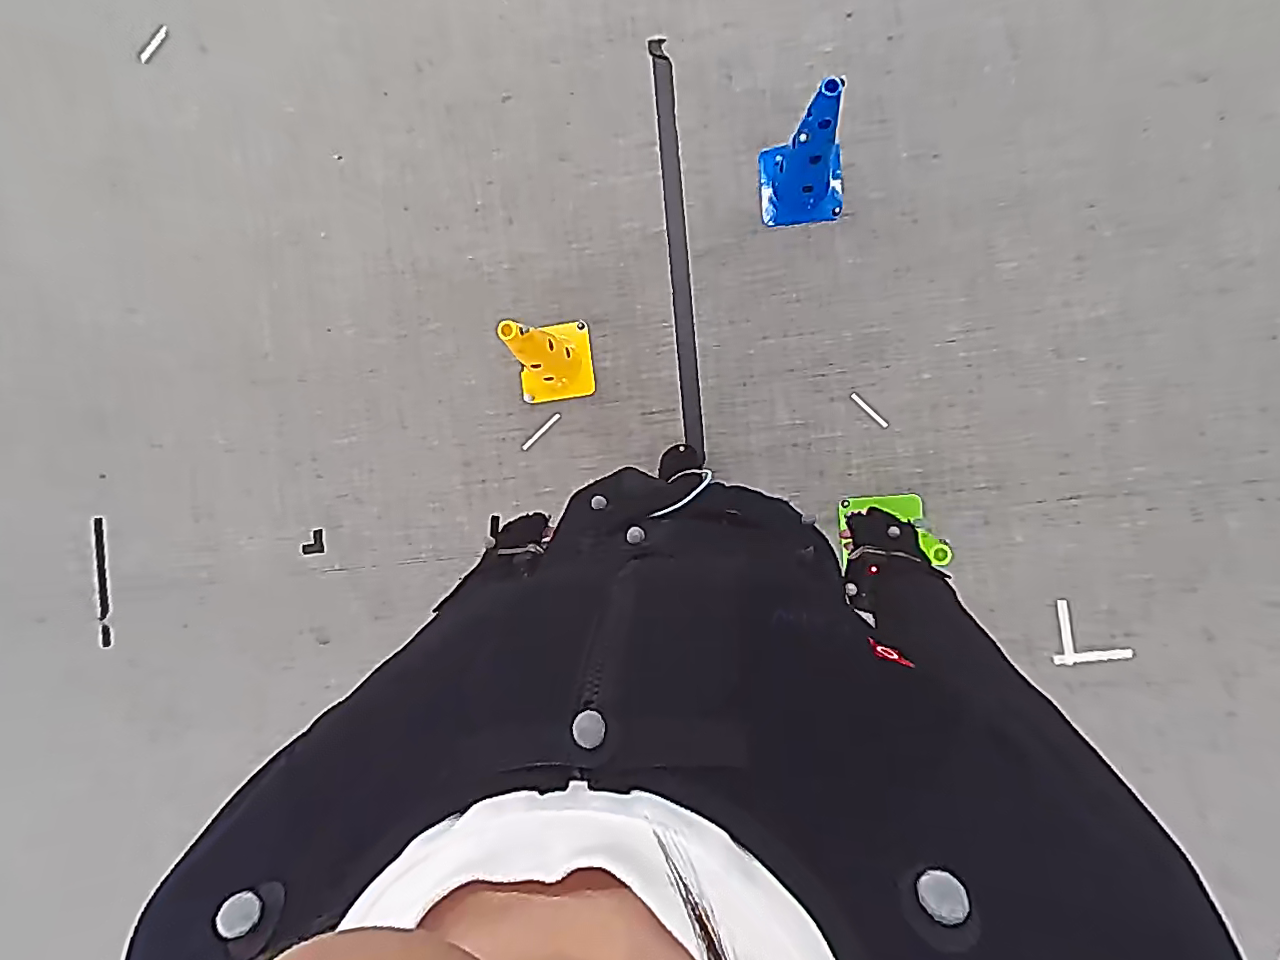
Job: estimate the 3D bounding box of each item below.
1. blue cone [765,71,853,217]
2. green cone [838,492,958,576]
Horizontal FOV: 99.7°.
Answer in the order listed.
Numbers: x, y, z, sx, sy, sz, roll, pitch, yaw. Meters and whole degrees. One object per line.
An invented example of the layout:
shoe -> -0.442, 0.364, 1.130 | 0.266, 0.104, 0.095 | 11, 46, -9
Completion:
blue cone -> 0.397, -0.761, 1.207 | 0.192, 0.380, 0.193 | -1, 91, 7
green cone -> 0.586, 0.139, 1.182 | 0.202, 0.368, 0.200 | -5, 90, 6
